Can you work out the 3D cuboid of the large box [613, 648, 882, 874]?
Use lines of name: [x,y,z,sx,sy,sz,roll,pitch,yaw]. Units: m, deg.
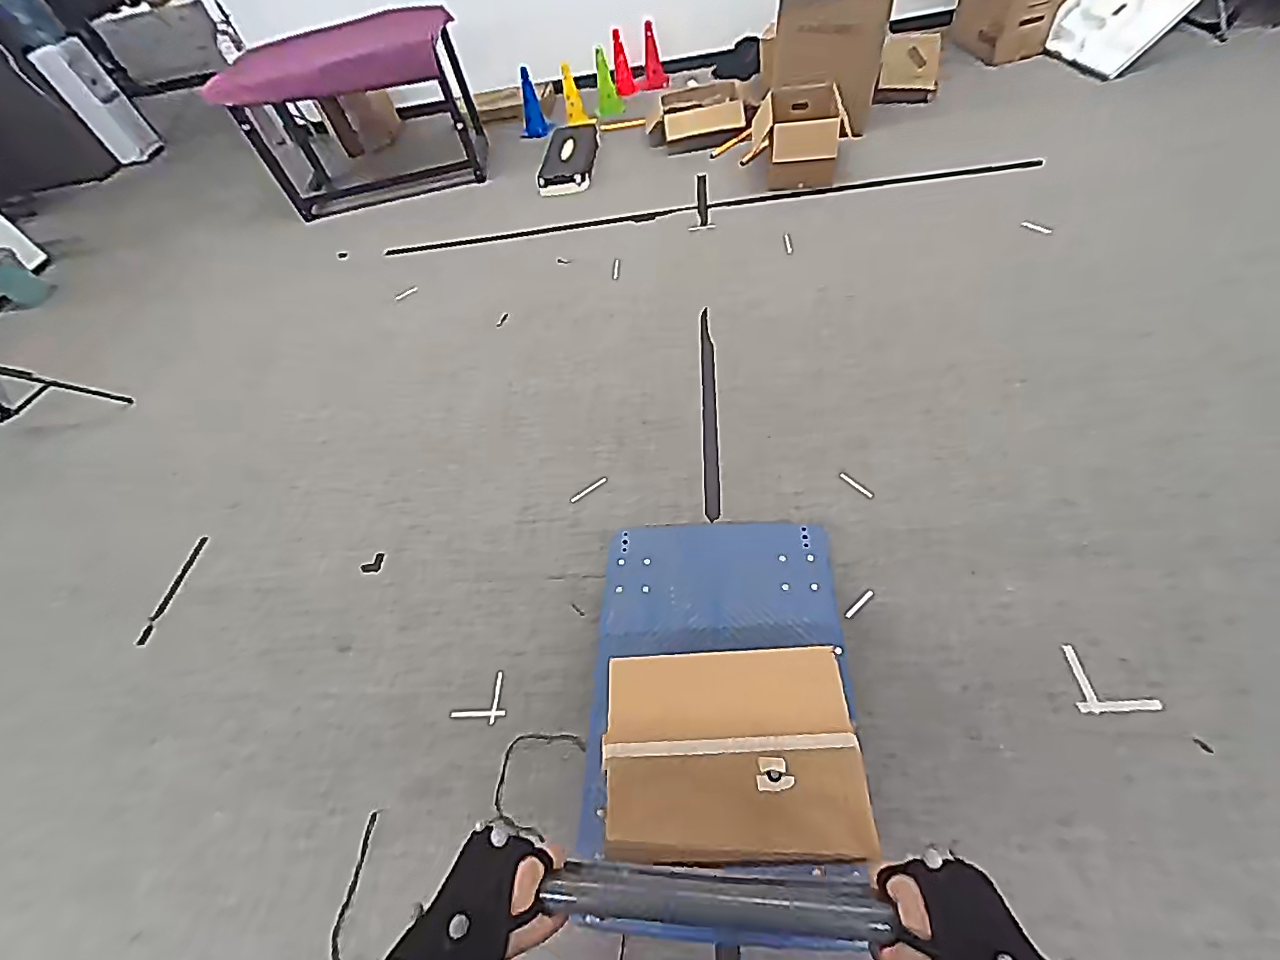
large box: [0.169,0.531,1.007,0.408,0.320,0.320,-5,53,5]
